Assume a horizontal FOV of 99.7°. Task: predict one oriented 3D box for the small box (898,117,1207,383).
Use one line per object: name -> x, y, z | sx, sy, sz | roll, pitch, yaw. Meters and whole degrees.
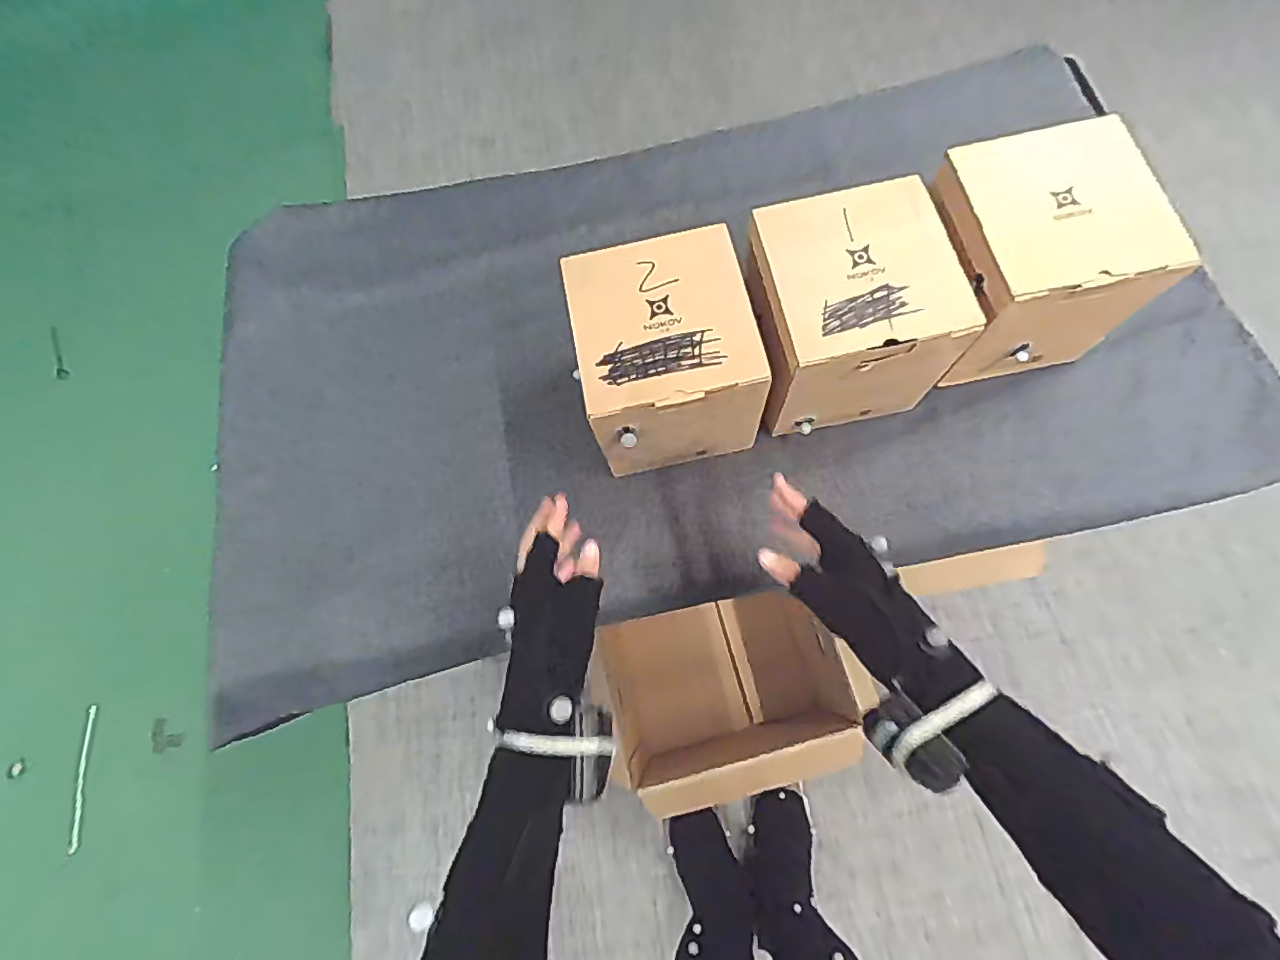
small box -> 0.399, -0.227, 0.567 | 0.168, 0.176, 0.179 | -11, 73, 2
